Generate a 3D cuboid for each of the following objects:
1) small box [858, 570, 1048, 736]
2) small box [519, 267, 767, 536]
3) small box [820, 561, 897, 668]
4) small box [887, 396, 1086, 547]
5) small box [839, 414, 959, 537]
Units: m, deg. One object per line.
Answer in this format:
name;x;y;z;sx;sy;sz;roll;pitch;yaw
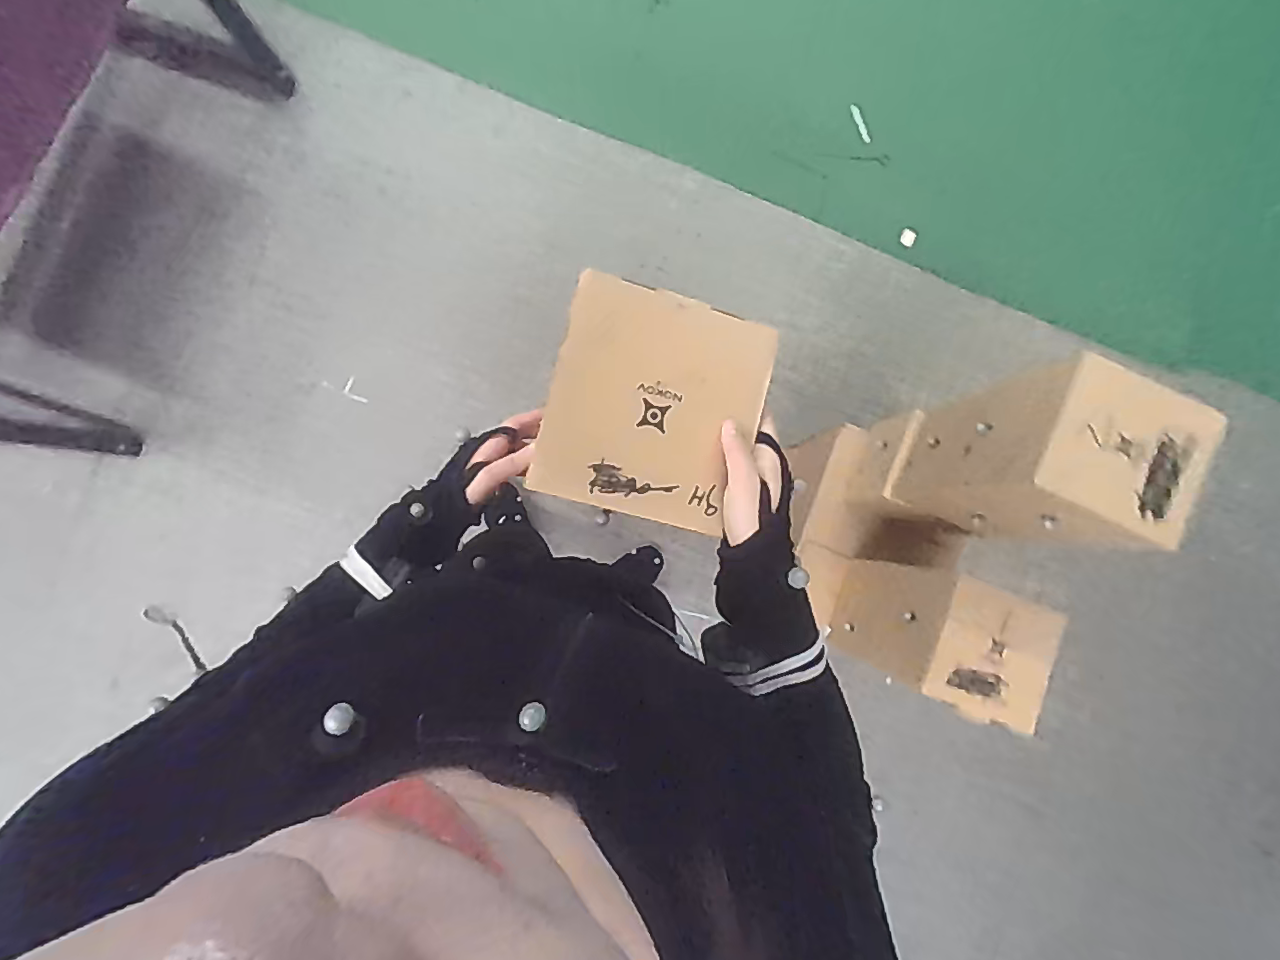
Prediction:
small box;0.465;0.251;0.832;0.168;0.176;0.179;23;83;-2
small box;-0.008;-0.058;0.498;0.168;0.176;0.179;15;87;-10
small box;0.455;0.261;0.996;0.168;0.176;0.179;22;84;-2
small box;0.528;-0.007;0.851;0.179;0.176;0.168;26;87;-2
small box;0.506;-0.003;1.015;0.179;0.176;0.168;24;86;-2
